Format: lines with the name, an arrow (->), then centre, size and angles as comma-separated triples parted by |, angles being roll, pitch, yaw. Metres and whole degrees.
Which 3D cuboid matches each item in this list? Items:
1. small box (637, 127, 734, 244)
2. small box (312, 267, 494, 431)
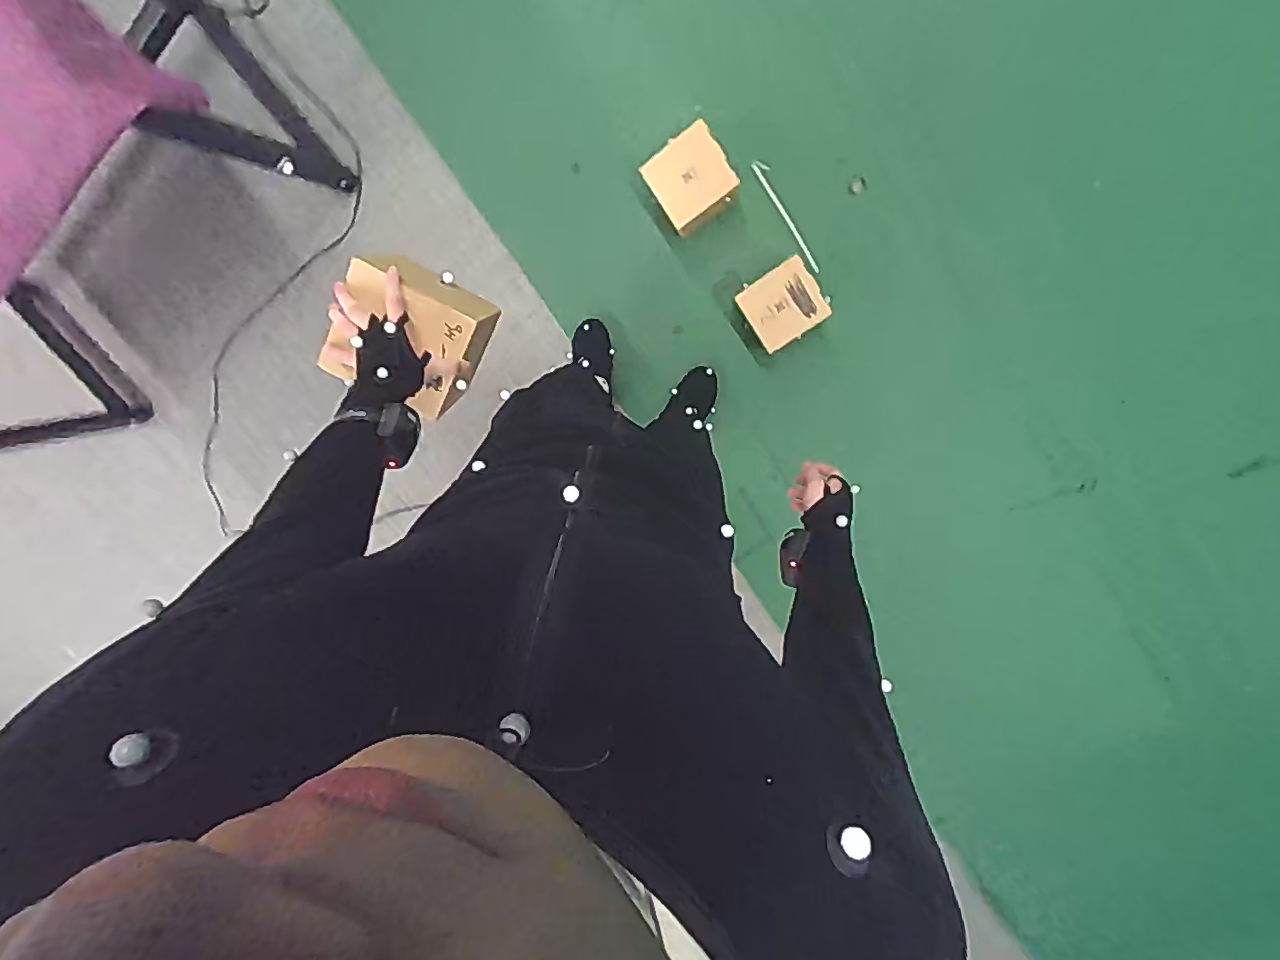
small box -> 0.118, -0.711, 1.332 | 0.179, 0.176, 0.168 | -33, 99, 15
small box -> -0.345, -0.202, 0.816 | 0.179, 0.176, 0.168 | 26, 109, -12
